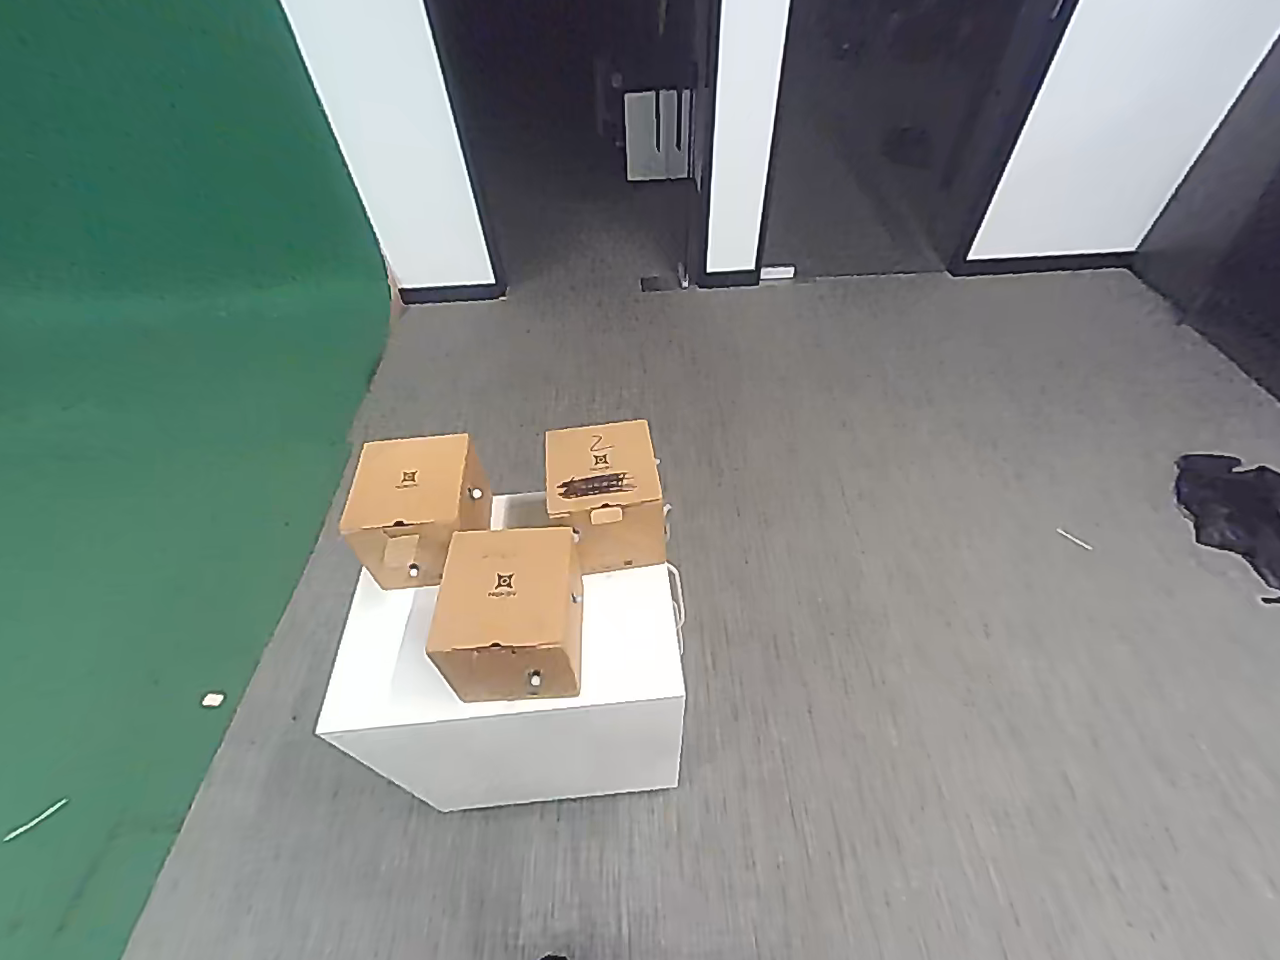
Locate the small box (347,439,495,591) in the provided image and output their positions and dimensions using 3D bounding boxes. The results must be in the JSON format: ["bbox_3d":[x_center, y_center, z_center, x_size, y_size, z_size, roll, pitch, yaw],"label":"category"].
[{"bbox_3d":[-0.336,0.057,0.871,0.168,0.176,0.179,-5,50,-3],"label":"small box"}]

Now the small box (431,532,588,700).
[{"bbox_3d":[-0.163,0.192,0.745,0.168,0.176,0.179,-2,47,0],"label":"small box"}]
